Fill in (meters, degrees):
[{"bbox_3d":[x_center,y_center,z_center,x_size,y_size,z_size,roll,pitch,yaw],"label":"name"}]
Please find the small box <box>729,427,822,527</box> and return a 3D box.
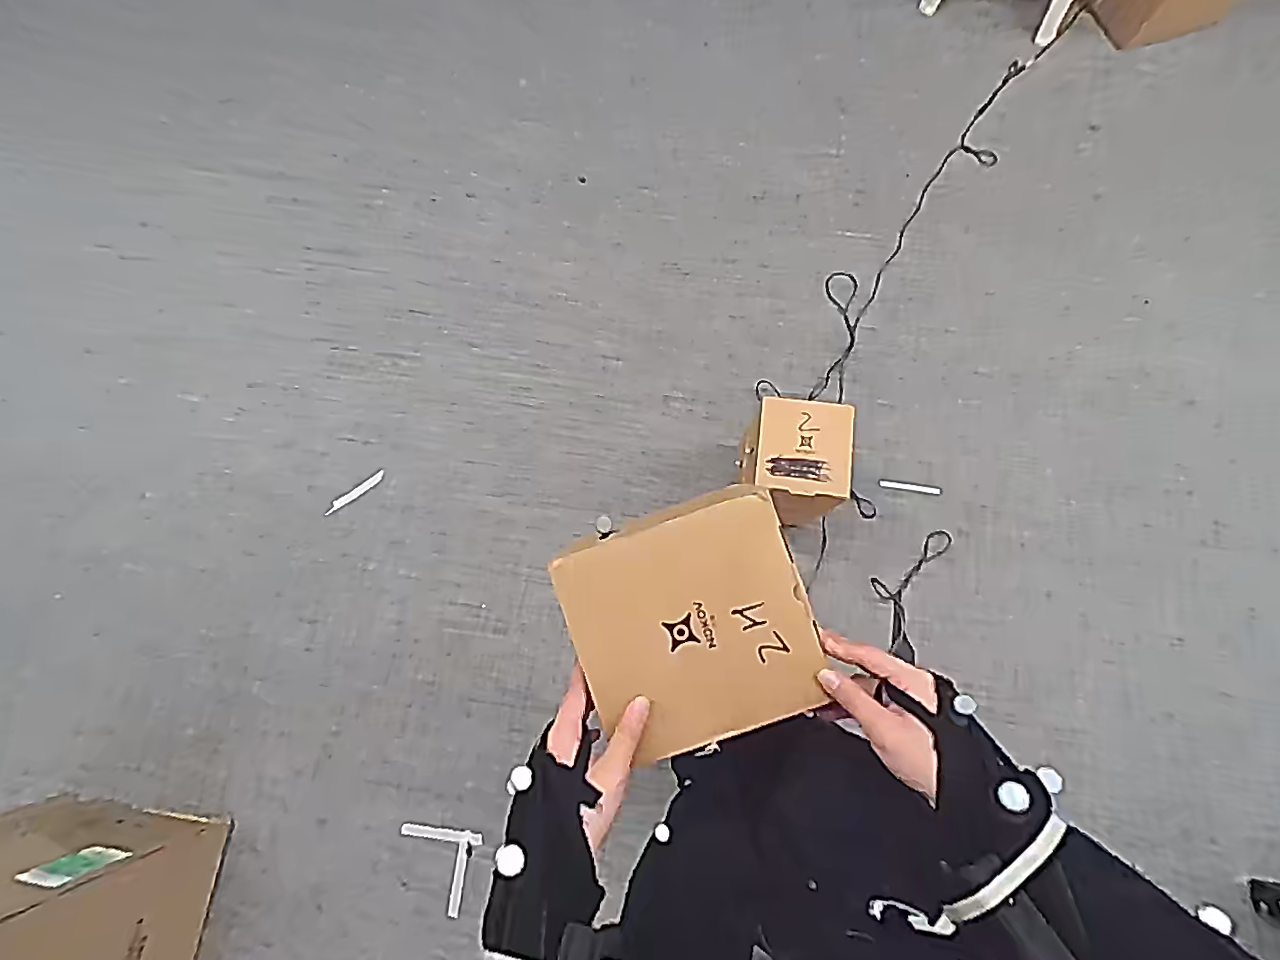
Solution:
[{"bbox_3d":[0.293,-0.001,1.200,0.168,0.176,0.179,7,77,4],"label":"small box"}]
